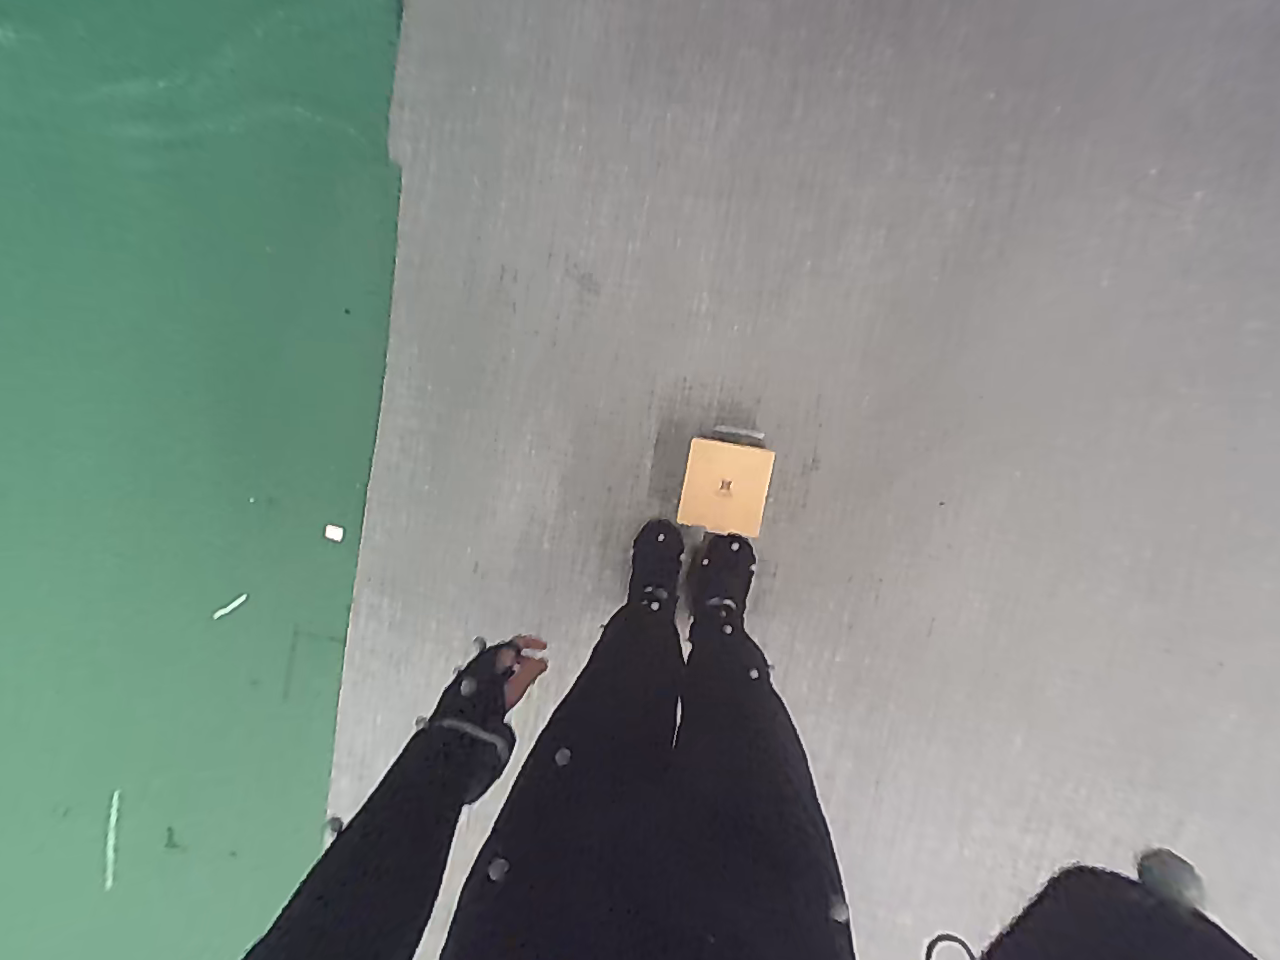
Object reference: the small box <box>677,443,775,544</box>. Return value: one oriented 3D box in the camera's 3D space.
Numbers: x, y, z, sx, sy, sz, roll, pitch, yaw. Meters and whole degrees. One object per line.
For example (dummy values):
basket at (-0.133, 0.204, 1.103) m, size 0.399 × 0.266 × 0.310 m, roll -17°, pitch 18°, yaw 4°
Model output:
small box at (0.179, 0.020, 1.152) m, size 0.168 × 0.176 × 0.179 m, roll 12°, pitch 96°, yaw 7°
